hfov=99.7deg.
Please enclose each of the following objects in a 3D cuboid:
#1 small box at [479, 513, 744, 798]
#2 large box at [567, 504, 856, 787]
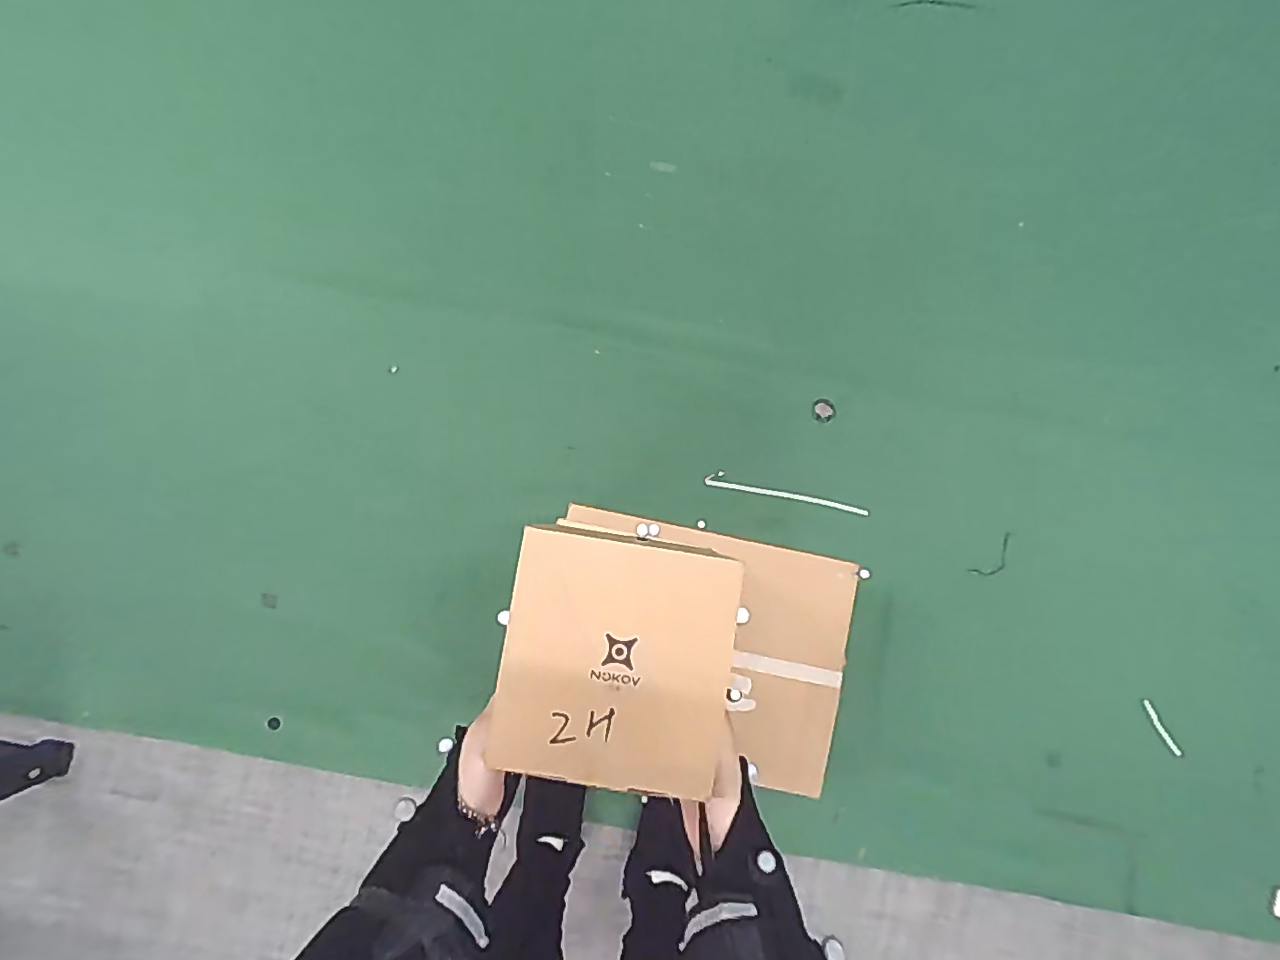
[{"bbox_3d":[-0.020,0.130,0.462,0.168,0.176,0.179,9,84,0],"label":"small box"},{"bbox_3d":[0.067,0.229,0.863,0.408,0.320,0.320,12,86,0],"label":"large box"}]
